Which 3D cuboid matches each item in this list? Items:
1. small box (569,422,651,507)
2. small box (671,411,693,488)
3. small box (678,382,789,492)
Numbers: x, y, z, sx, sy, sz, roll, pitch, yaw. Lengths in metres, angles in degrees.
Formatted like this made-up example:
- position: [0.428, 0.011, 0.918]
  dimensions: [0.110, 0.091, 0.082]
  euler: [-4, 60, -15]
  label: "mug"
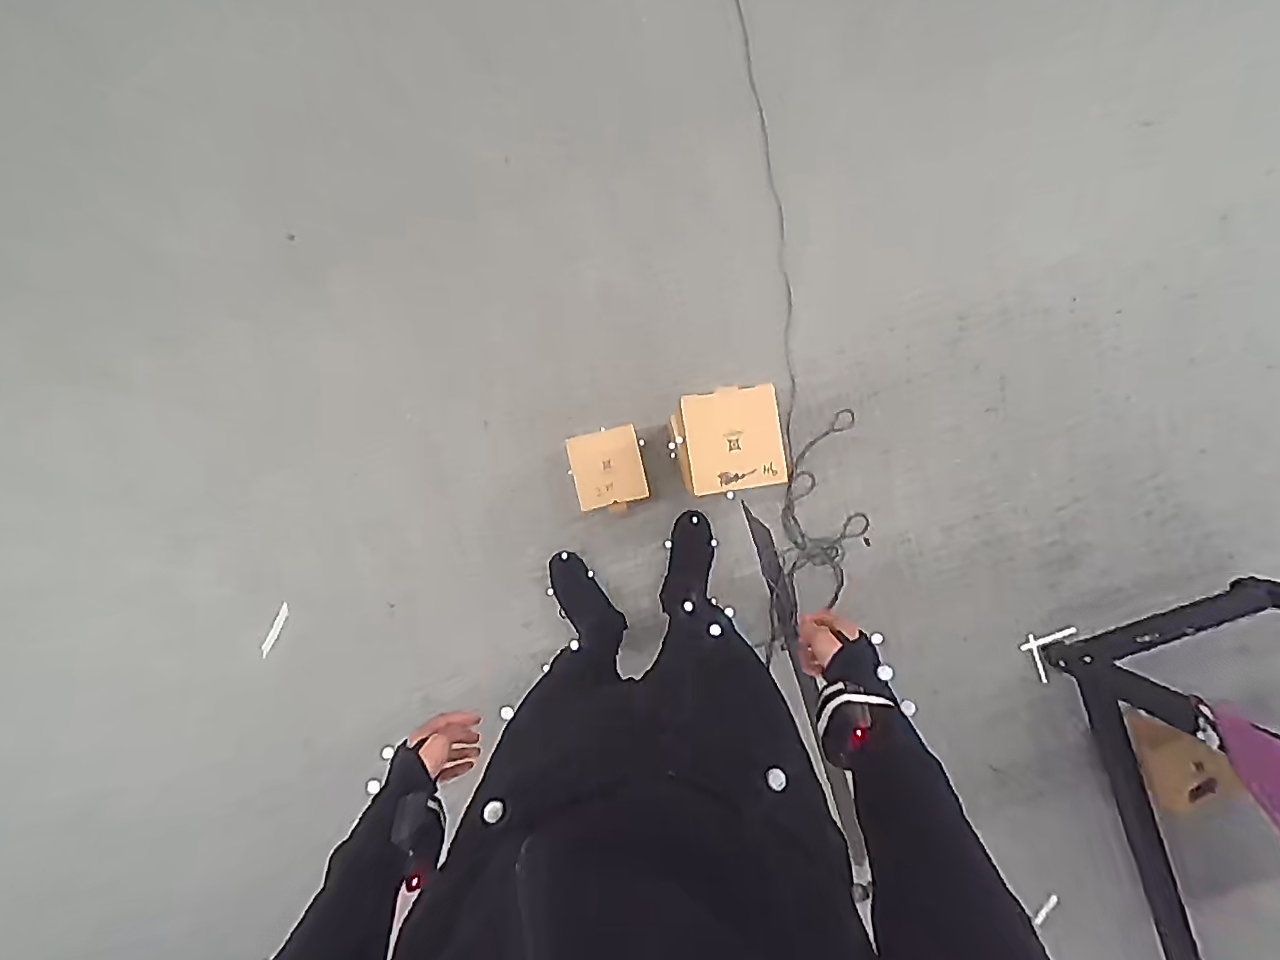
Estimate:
- position: [-0.071, -0.037, 1.339]
  dimensions: [0.168, 0.176, 0.179]
  euler: [-12, 92, 1]
  label: "small box"
- position: [0.169, -0.082, 1.175]
  dimensions: [0.179, 0.176, 0.168]
  euler: [-16, 92, 1]
  label: "small box"
- position: [0.166, -0.074, 1.011]
  dimensions: [0.168, 0.176, 0.179]
  euler: [-8, 91, 1]
  label: "small box"
